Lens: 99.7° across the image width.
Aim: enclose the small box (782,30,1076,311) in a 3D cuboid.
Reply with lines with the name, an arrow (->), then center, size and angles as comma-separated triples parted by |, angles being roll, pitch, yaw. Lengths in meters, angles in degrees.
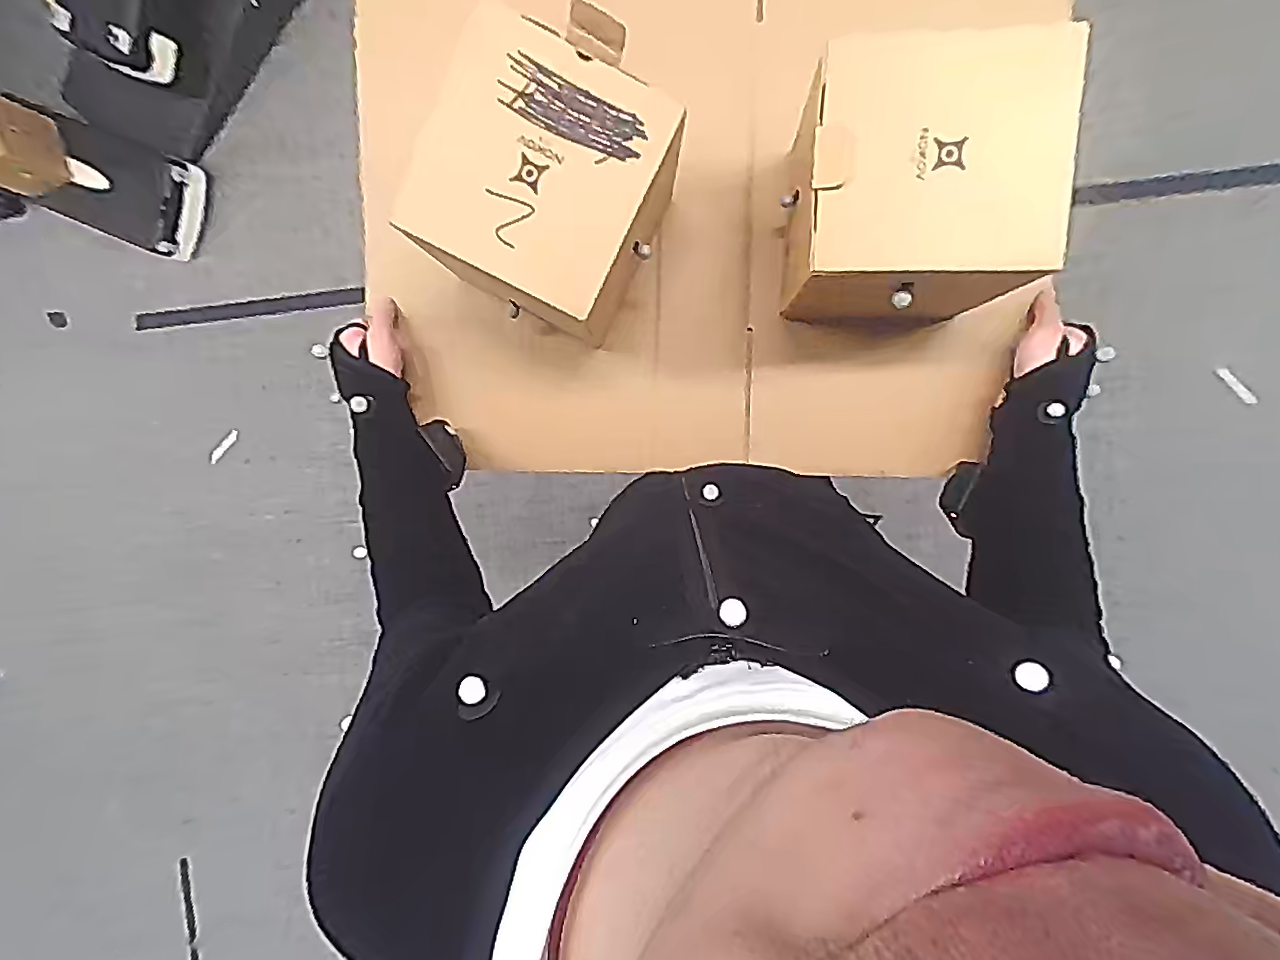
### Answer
small box -> 0.231, -0.251, 0.480 | 0.179, 0.176, 0.168 | 2, 97, 8
